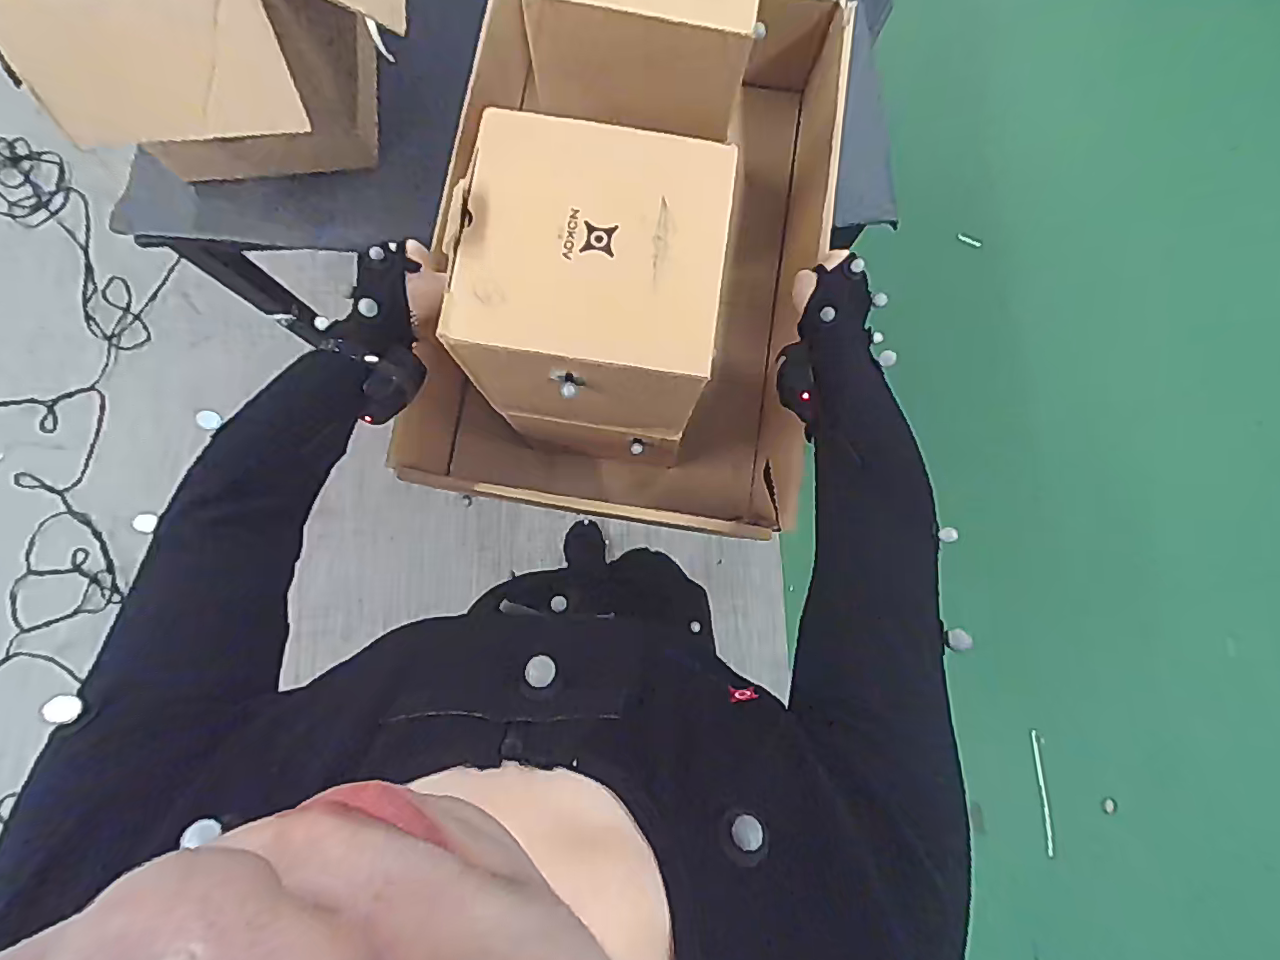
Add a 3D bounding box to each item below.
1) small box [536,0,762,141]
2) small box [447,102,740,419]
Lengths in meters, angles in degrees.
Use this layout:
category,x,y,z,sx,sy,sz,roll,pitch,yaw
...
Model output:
category,x,y,z,sx,sy,sz,roll,pitch,yaw
small box,0.012,-0.404,0.464,0.168,0.176,0.179,10,86,-2
small box,-0.032,-0.155,0.439,0.179,0.176,0.168,9,83,-3
